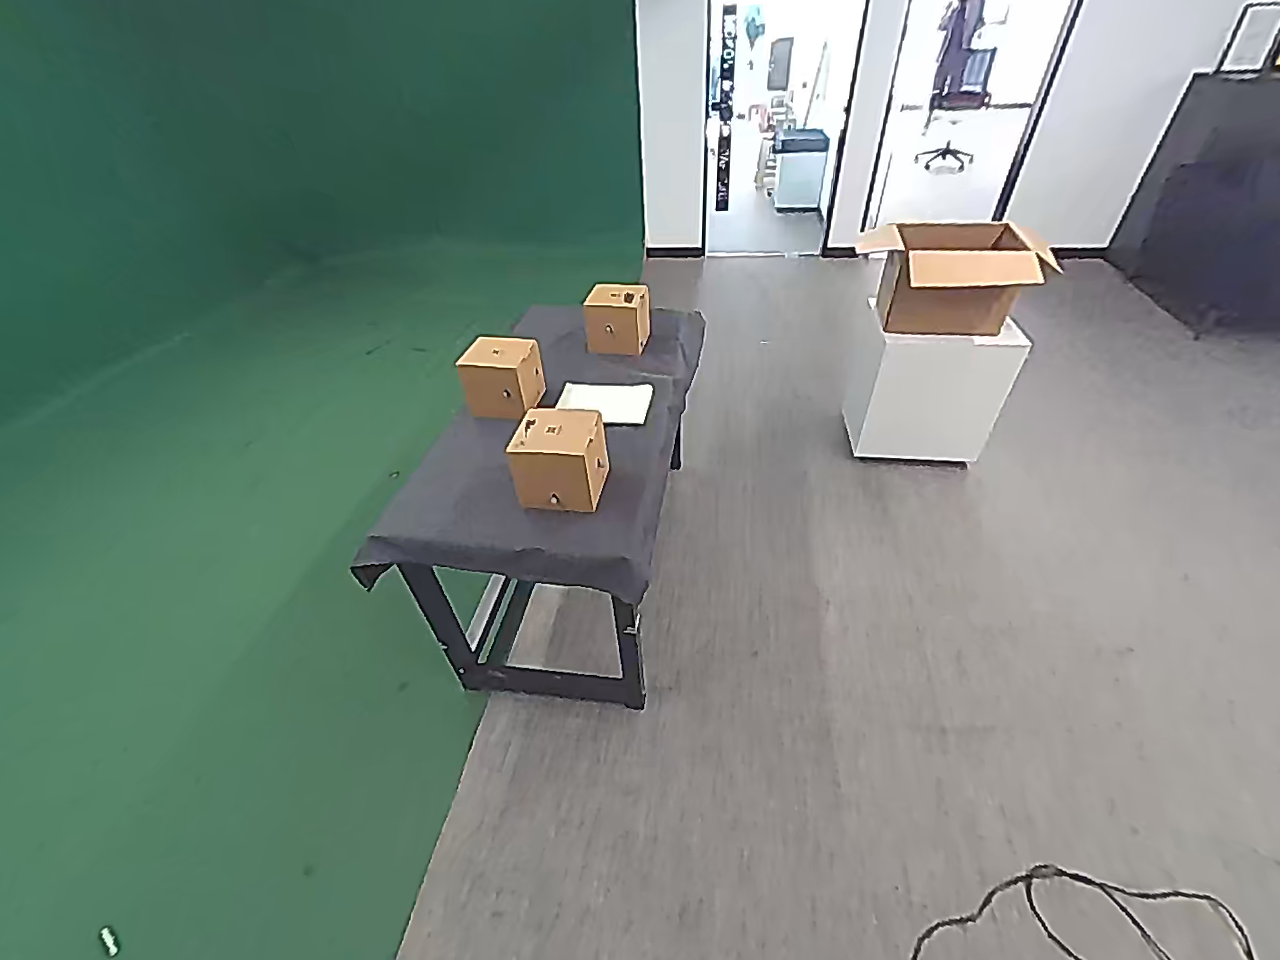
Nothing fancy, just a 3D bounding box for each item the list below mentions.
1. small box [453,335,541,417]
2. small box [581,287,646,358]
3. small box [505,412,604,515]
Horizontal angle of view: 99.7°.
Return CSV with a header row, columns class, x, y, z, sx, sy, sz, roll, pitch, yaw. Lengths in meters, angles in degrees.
class,x,y,z,sx,sy,sz,roll,pitch,yaw
small box,-0.392,-0.290,1.517,0.179,0.176,0.168,4,41,9
small box,-0.079,-0.514,1.770,0.179,0.176,0.168,6,42,11
small box,-0.184,-0.037,1.239,0.179,0.176,0.168,4,41,9
